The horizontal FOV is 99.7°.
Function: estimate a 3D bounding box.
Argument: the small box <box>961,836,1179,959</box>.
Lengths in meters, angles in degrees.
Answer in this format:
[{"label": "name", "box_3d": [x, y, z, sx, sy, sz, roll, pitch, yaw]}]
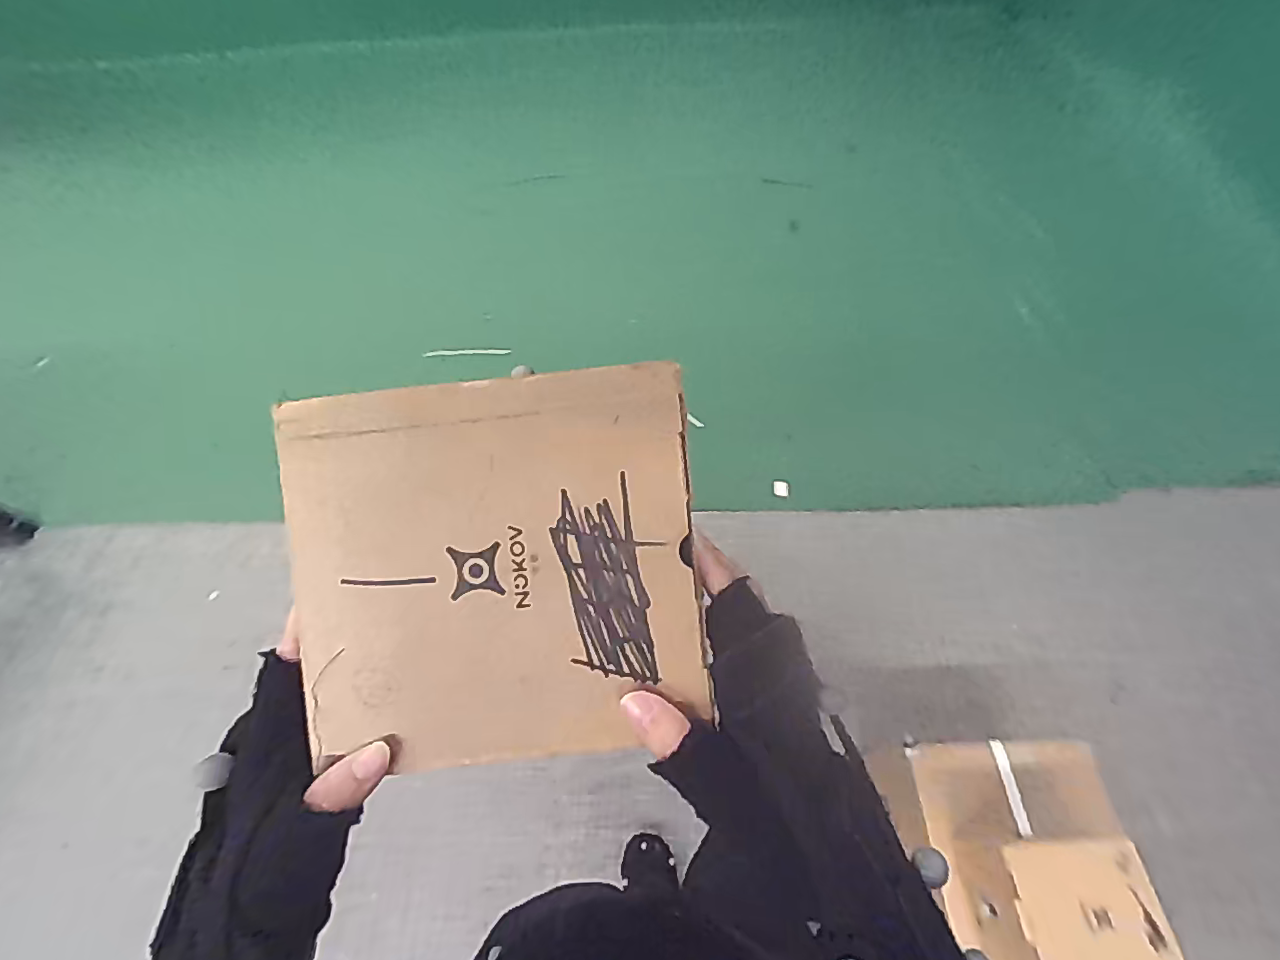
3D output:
[{"label": "small box", "box_3d": [0.585, 0.605, 0.759, 0.179, 0.176, 0.168, -5, 59, 3]}]

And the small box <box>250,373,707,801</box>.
[{"label": "small box", "box_3d": [-0.072, 0.044, 0.315, 0.179, 0.176, 0.168, -10, 91, -2]}]
